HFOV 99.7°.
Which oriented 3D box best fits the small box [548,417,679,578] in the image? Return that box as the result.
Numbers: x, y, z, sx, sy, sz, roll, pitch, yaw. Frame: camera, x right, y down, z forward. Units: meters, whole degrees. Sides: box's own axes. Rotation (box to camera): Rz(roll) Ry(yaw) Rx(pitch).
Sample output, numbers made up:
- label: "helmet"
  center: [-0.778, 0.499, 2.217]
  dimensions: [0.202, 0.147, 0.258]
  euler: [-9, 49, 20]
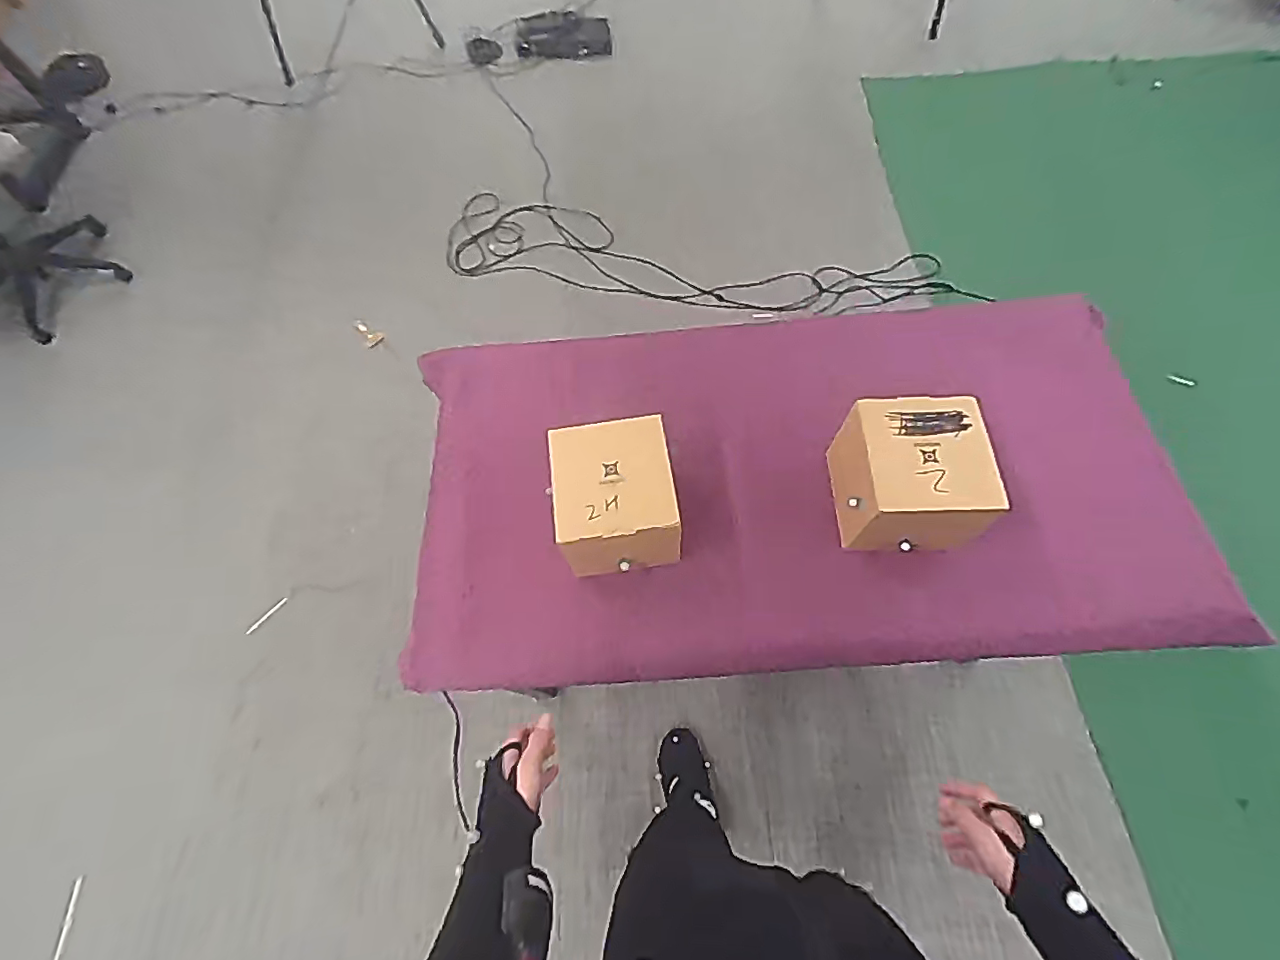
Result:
- label: "small box"
  center: [-0.037, 0.031, 0.800]
  dimensions: [0.168, 0.176, 0.179]
  euler: [-8, 64, 0]
